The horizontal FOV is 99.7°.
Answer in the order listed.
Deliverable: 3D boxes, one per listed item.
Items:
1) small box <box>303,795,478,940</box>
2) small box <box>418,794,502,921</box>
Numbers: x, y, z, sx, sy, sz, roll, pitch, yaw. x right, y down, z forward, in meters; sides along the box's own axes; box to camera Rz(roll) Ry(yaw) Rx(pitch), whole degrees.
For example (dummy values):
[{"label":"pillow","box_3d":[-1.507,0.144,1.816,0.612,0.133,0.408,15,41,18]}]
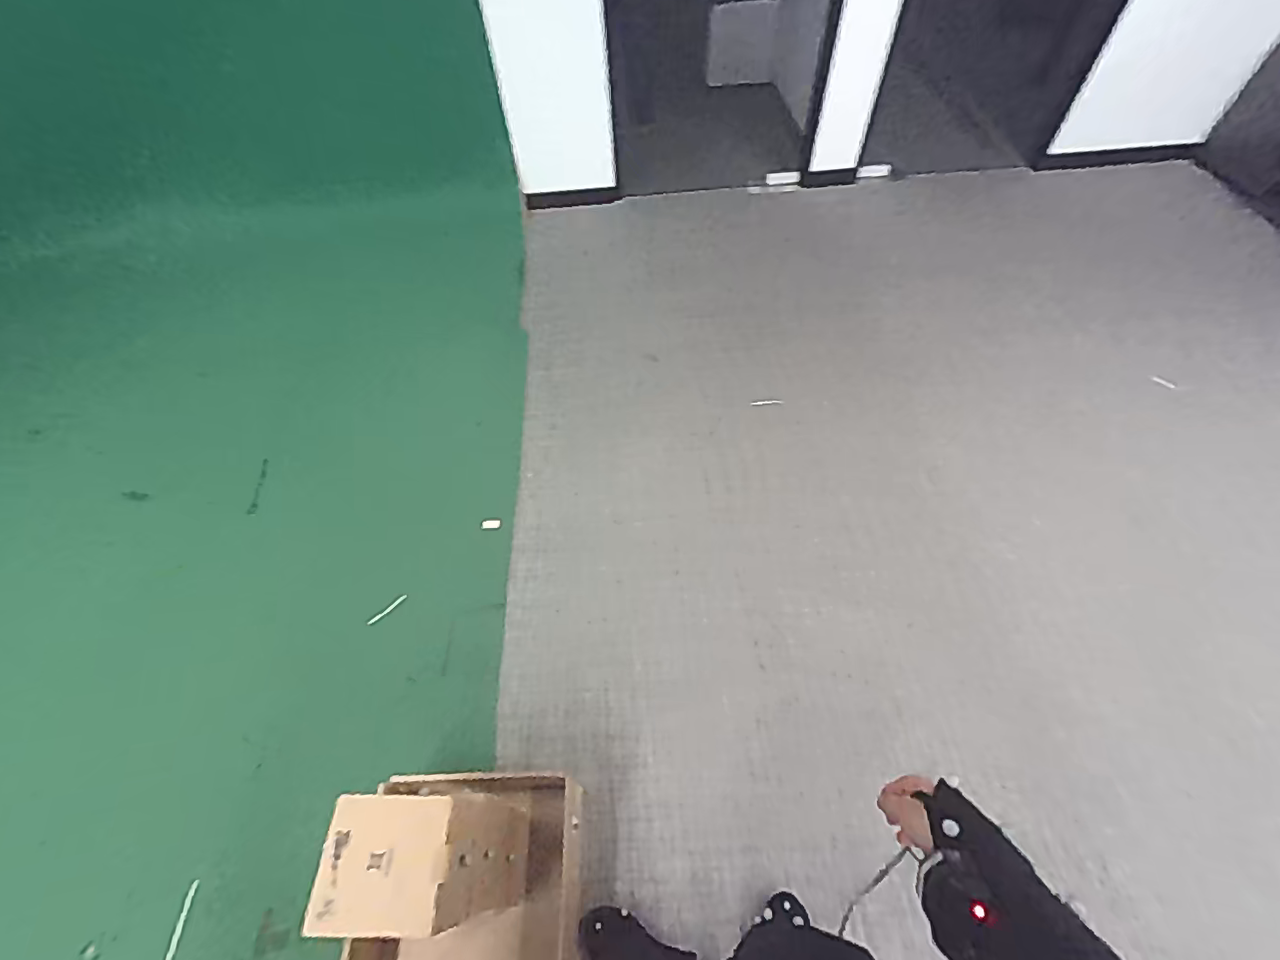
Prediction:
[{"label":"small box","box_3d":[-0.361,0.582,0.825,0.179,0.176,0.168,1,56,0]},{"label":"small box","box_3d":[-0.349,0.669,0.964,0.168,0.176,0.179,-3,56,-2]}]
